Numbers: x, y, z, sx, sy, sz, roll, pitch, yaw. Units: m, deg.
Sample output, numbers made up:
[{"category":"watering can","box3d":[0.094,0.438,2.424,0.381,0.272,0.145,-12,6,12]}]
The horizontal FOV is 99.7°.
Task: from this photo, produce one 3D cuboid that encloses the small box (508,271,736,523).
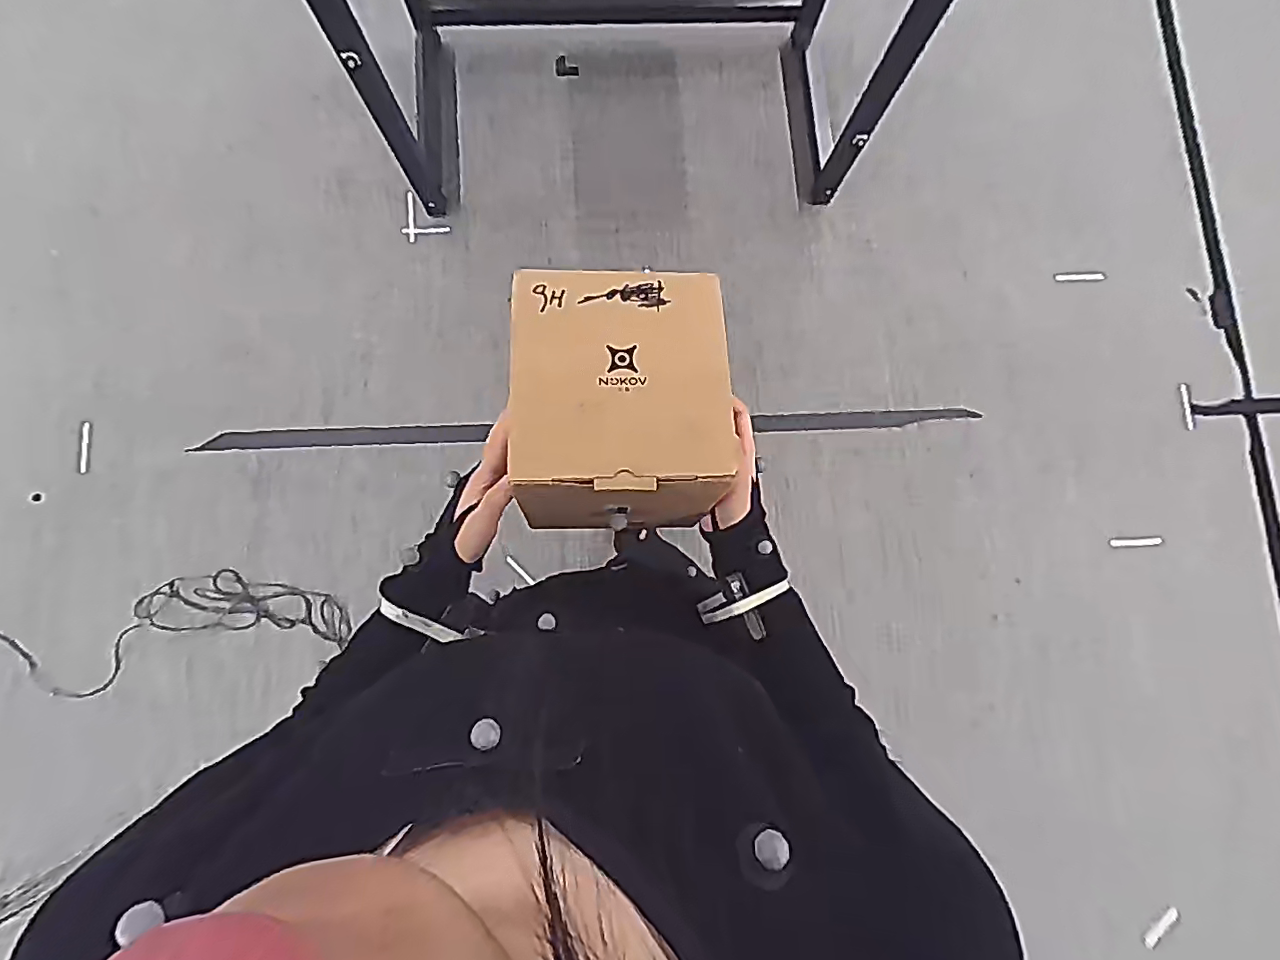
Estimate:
[{"category":"small box","box3d":[-0.020,-0.058,0.480,0.168,0.176,0.179,-1,75,-6]}]
